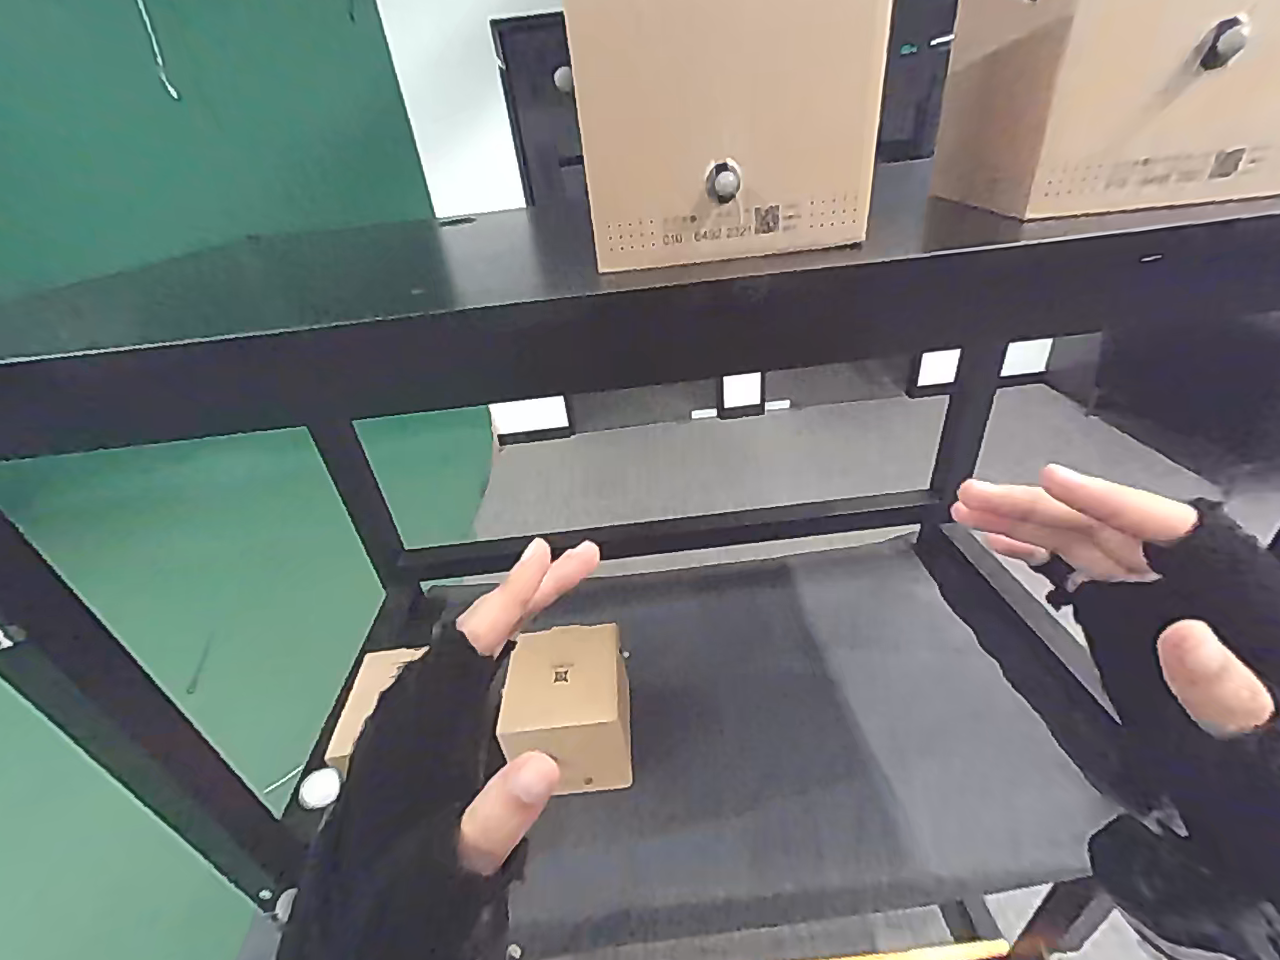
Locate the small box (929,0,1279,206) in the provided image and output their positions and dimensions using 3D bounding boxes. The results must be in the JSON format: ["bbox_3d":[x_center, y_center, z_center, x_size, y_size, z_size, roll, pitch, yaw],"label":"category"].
[{"bbox_3d":[0.316,-0.286,0.360,0.168,0.176,0.179,-2,32,8],"label":"small box"}]

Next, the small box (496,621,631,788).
[{"bbox_3d":[-0.105,0.345,0.825,0.168,0.176,0.179,-6,31,1],"label":"small box"}]

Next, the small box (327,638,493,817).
[{"bbox_3d":[-0.330,0.371,0.821,0.168,0.176,0.179,-8,32,-1],"label":"small box"}]
